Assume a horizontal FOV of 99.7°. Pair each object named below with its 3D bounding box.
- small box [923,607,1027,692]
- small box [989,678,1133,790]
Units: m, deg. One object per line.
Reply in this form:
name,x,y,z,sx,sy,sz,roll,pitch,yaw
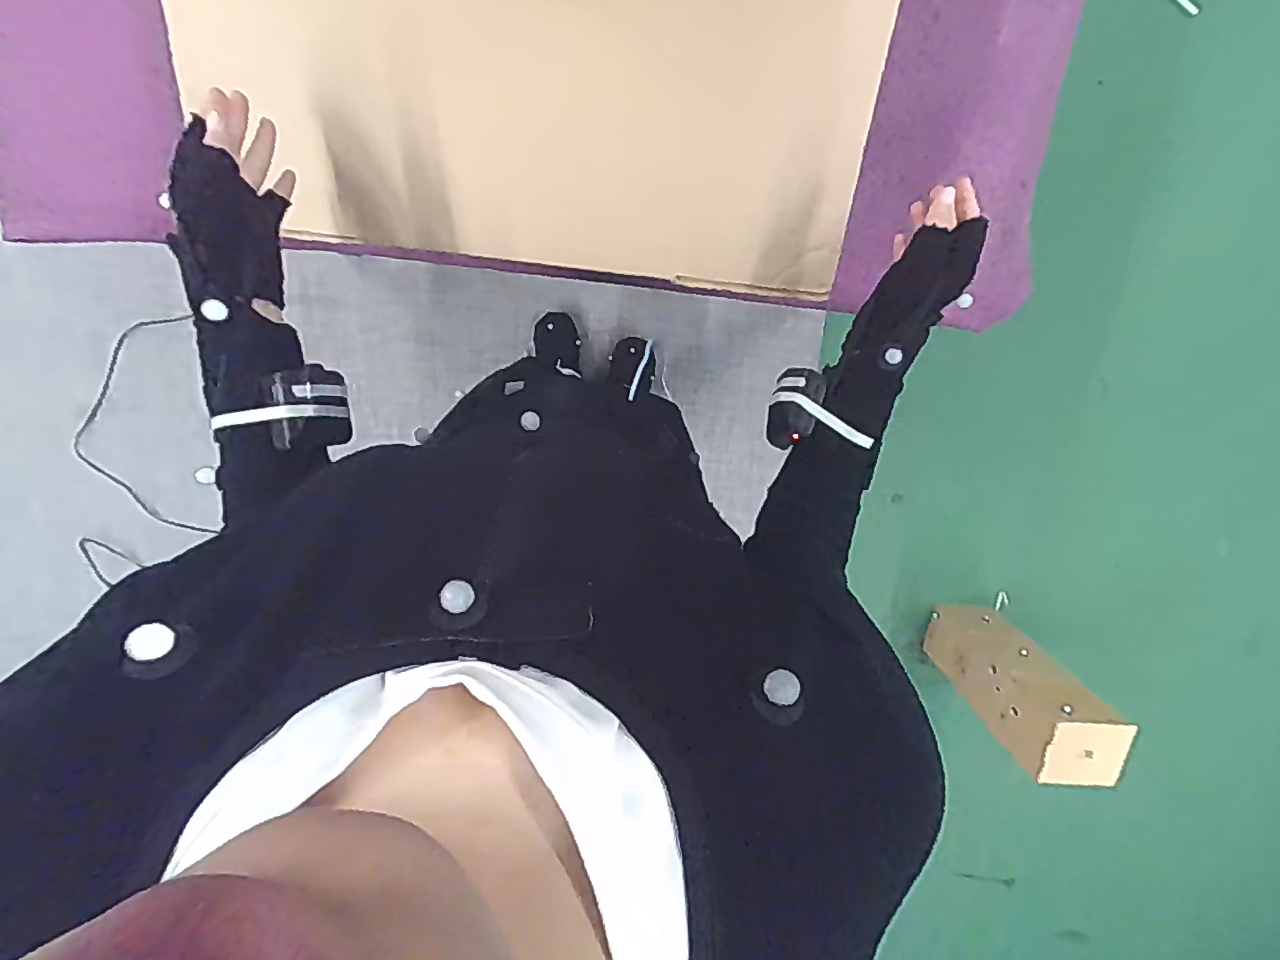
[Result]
small box,0.954,0.482,1.558,0.179,0.176,0.168,6,107,-2
small box,0.956,0.579,1.245,0.179,0.176,0.168,3,107,-1
